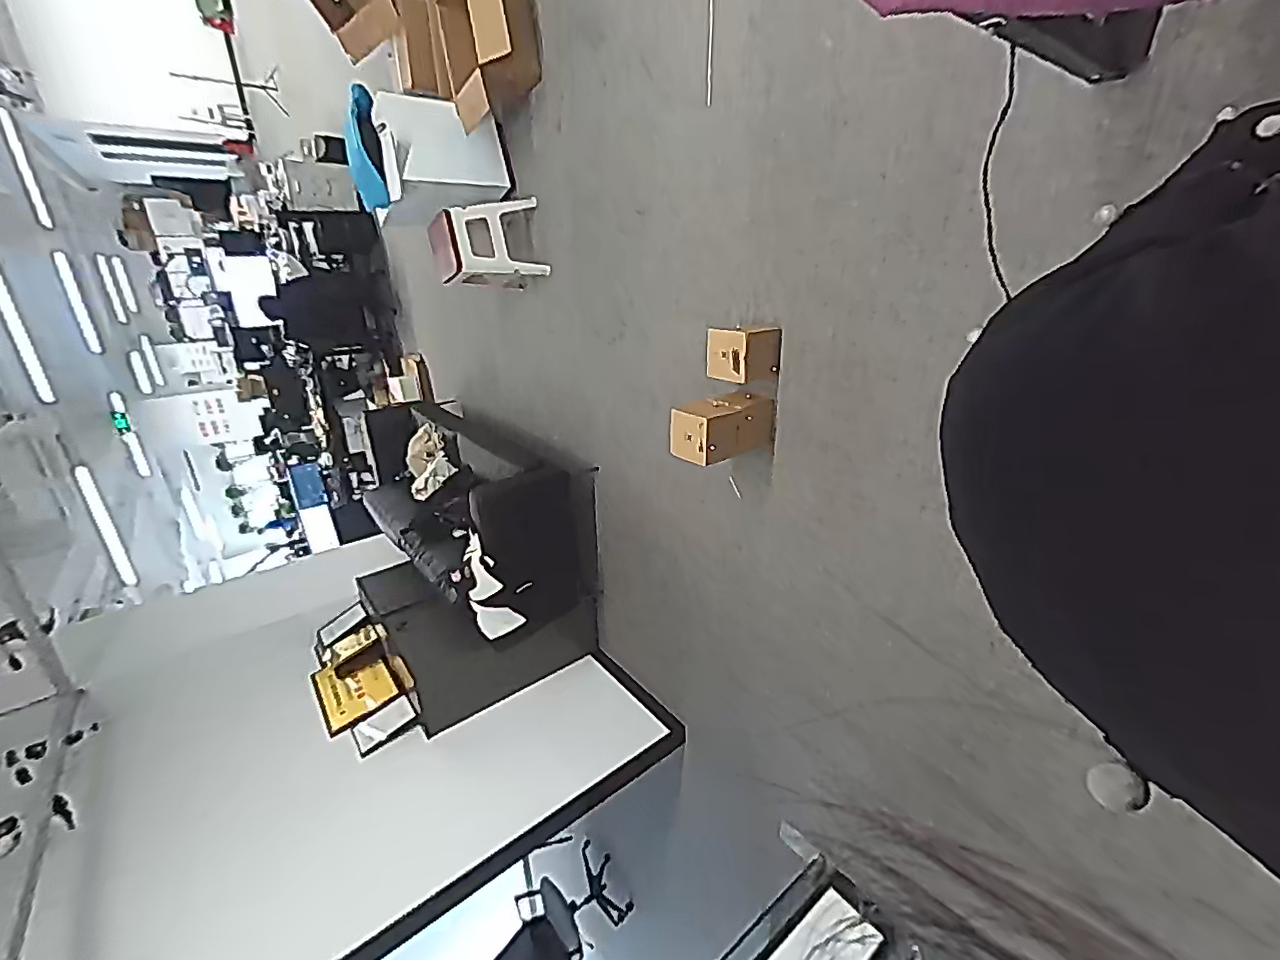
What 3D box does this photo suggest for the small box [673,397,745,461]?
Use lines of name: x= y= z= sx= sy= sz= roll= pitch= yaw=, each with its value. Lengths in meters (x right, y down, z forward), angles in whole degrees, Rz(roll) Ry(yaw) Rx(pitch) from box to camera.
small box: x=0.231 y=-0.178 z=1.831 sx=0.179 sy=0.176 sz=0.168 roll=27 pitch=125 yaw=47

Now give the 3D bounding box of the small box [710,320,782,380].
small box: x=0.357 y=-0.444 z=1.825 sx=0.179 sy=0.176 sz=0.168 roll=26 pitch=124 yaw=48
